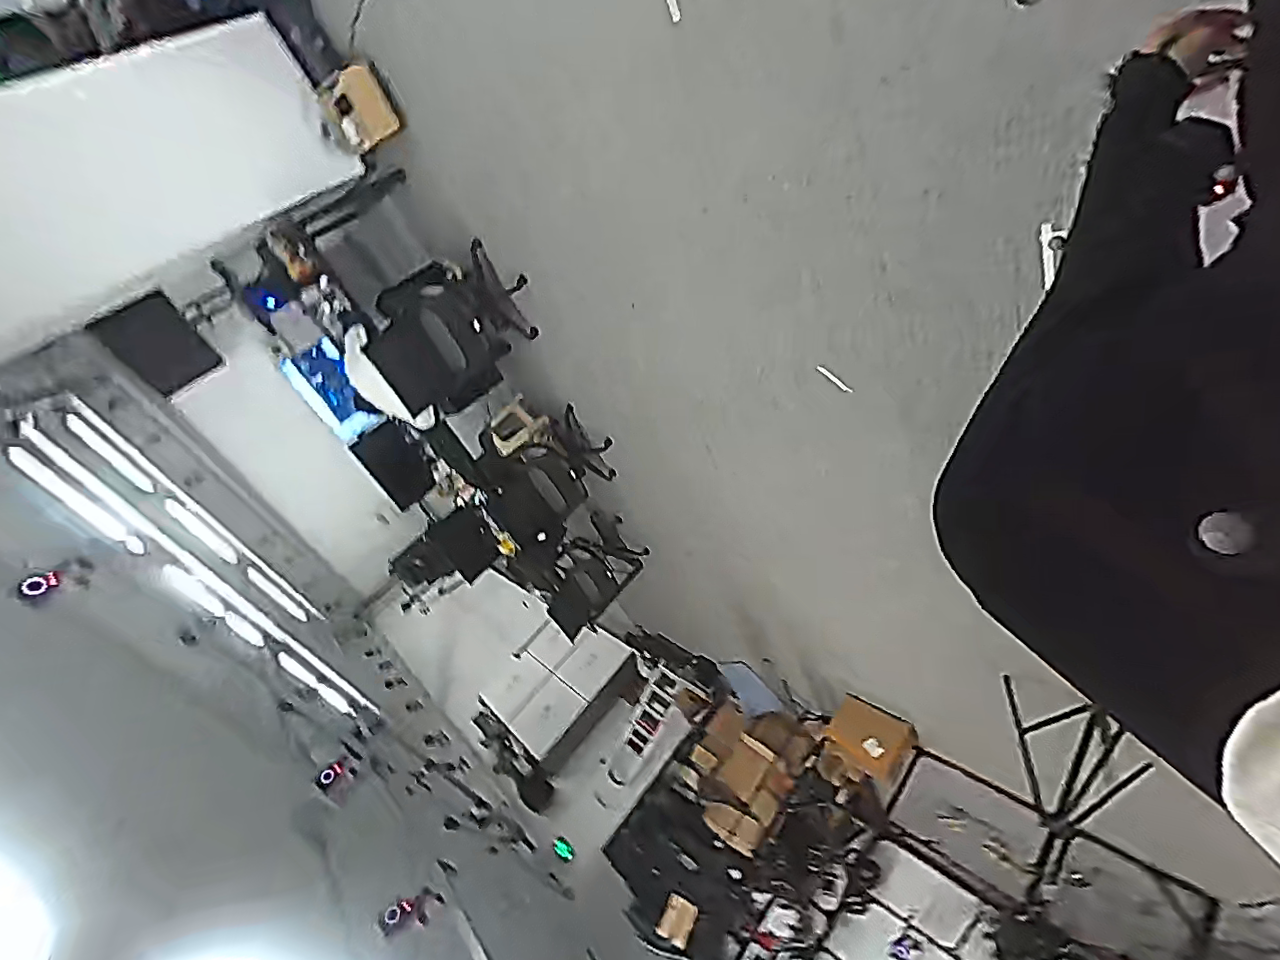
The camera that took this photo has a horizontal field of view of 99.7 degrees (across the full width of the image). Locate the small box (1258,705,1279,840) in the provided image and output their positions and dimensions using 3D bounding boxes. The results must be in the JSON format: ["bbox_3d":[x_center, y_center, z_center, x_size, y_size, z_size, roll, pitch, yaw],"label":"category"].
[{"bbox_3d":[1.147,0.507,0.880,0.168,0.176,0.179,7,136,50],"label":"small box"}]
